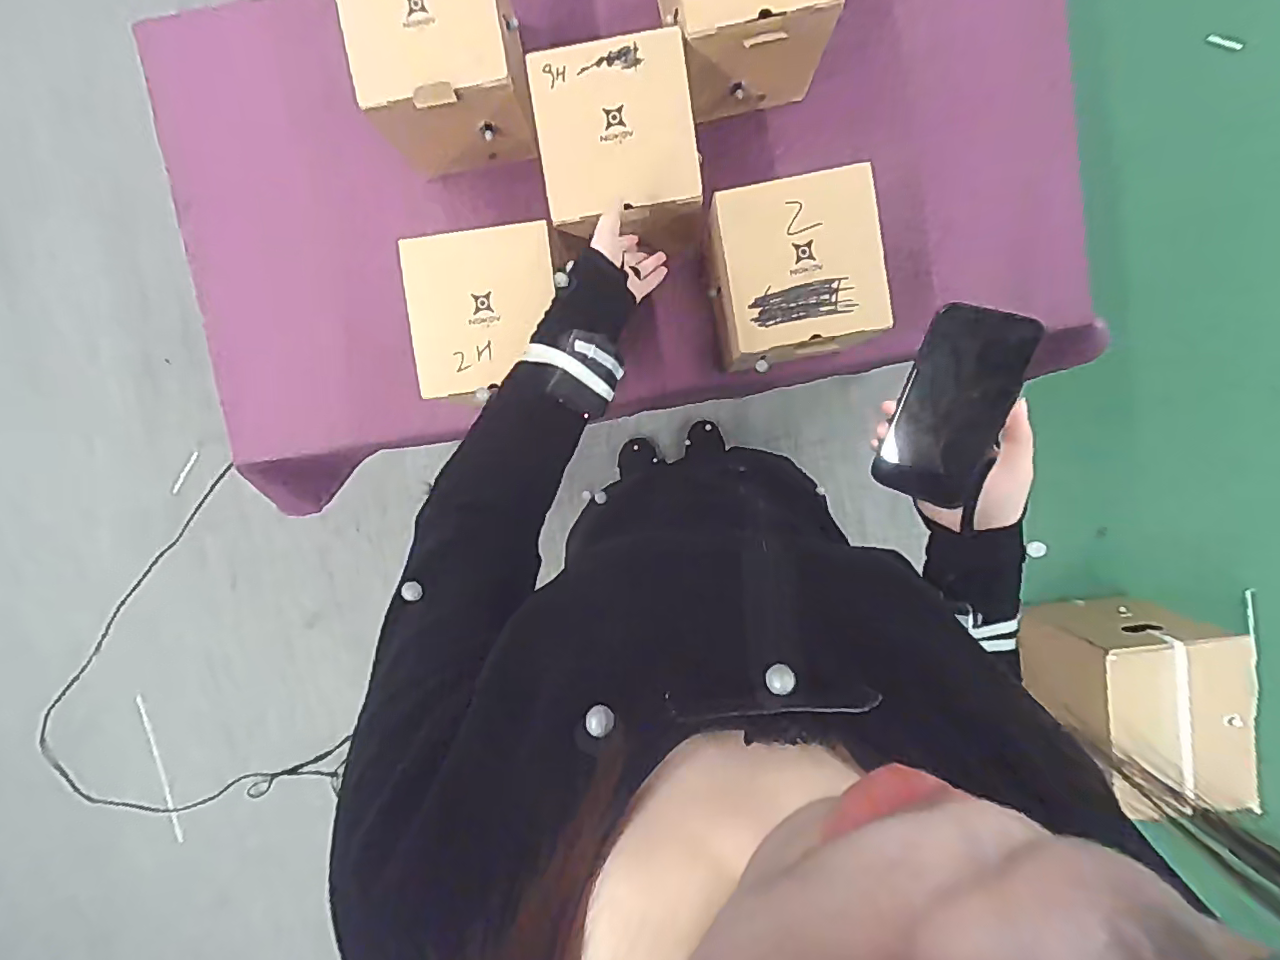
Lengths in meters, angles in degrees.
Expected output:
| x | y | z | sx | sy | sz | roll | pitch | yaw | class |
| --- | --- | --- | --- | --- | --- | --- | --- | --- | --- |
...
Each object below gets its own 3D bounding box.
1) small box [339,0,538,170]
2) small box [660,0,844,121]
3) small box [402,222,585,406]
| x | y | z | sx | sy | sz | roll | pitch | yaw | class |
| --- | --- | --- | --- | --- | --- | --- | --- | --- | --- |
| -0.228 | -0.497 | 0.644 | 0.168 | 0.176 | 0.179 | -9 | 95 | 2 | small box |
| 0.115 | -0.564 | 0.624 | 0.168 | 0.176 | 0.179 | -11 | 96 | 3 | small box |
| -0.167 | -0.191 | 0.669 | 0.168 | 0.176 | 0.179 | -6 | 95 | 4 | small box |
